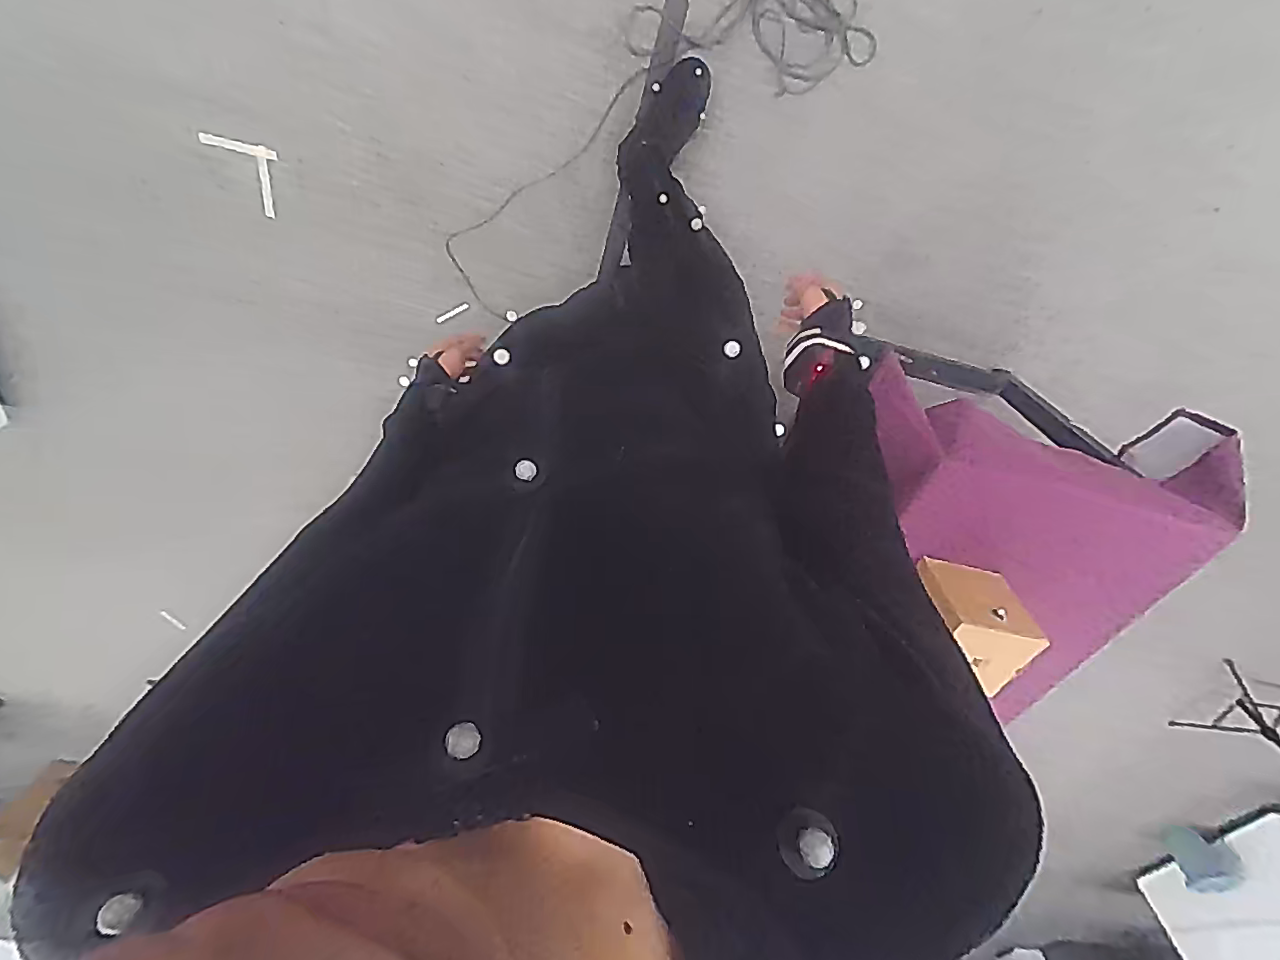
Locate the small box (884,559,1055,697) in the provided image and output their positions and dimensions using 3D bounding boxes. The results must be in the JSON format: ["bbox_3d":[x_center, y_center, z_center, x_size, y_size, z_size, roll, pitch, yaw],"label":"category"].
[{"bbox_3d":[0.594,0.270,1.002,0.179,0.176,0.168,14,125,-8],"label":"small box"}]
